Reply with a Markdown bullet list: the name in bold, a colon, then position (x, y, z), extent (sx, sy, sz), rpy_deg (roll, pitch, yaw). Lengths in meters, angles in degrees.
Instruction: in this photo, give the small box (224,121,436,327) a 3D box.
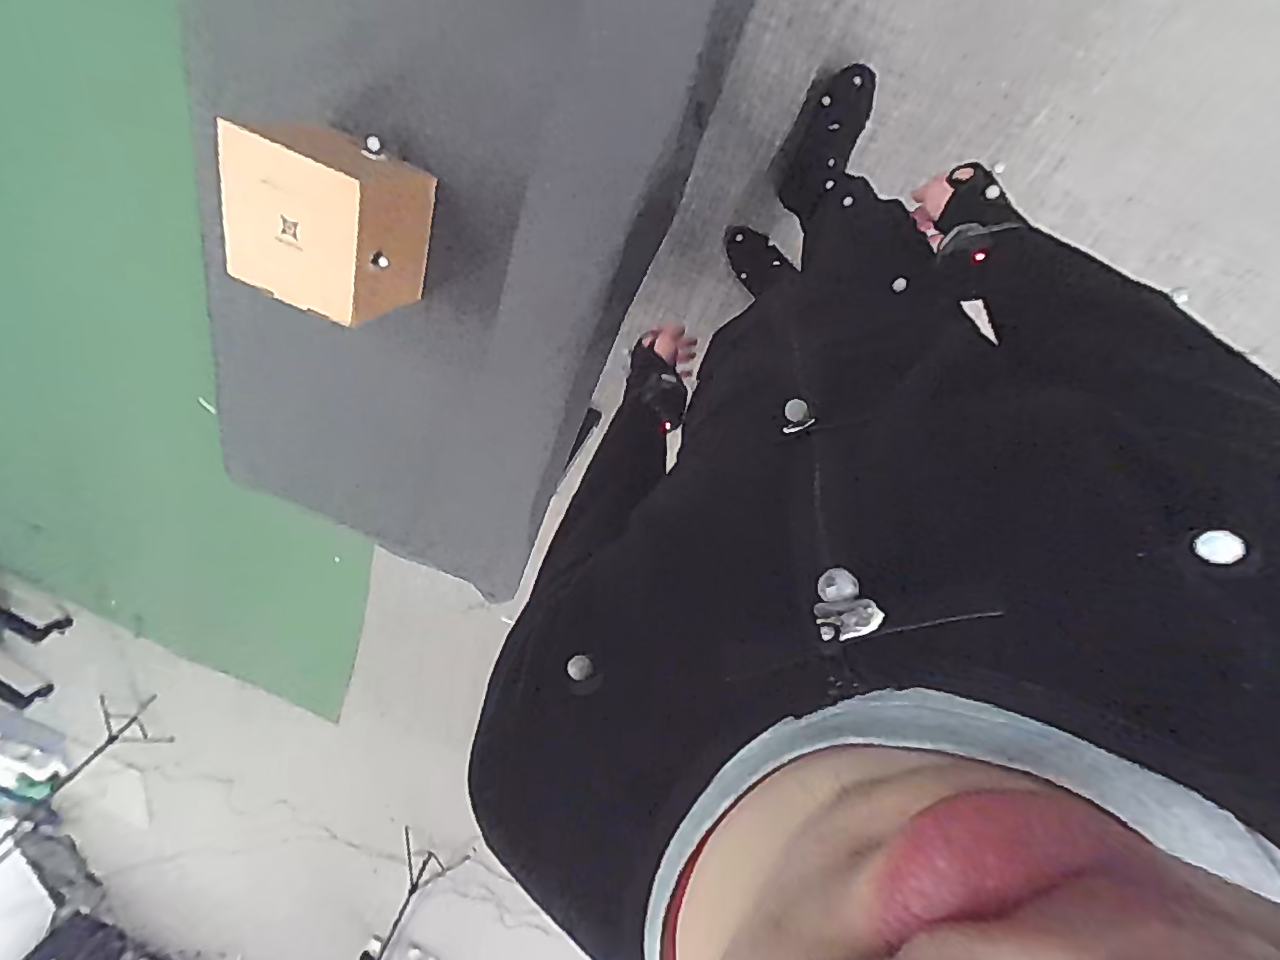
- **small box**: position (-0.384, -0.328, 0.694), extent (0.168, 0.176, 0.179), rpy_deg (23, 122, -2)
